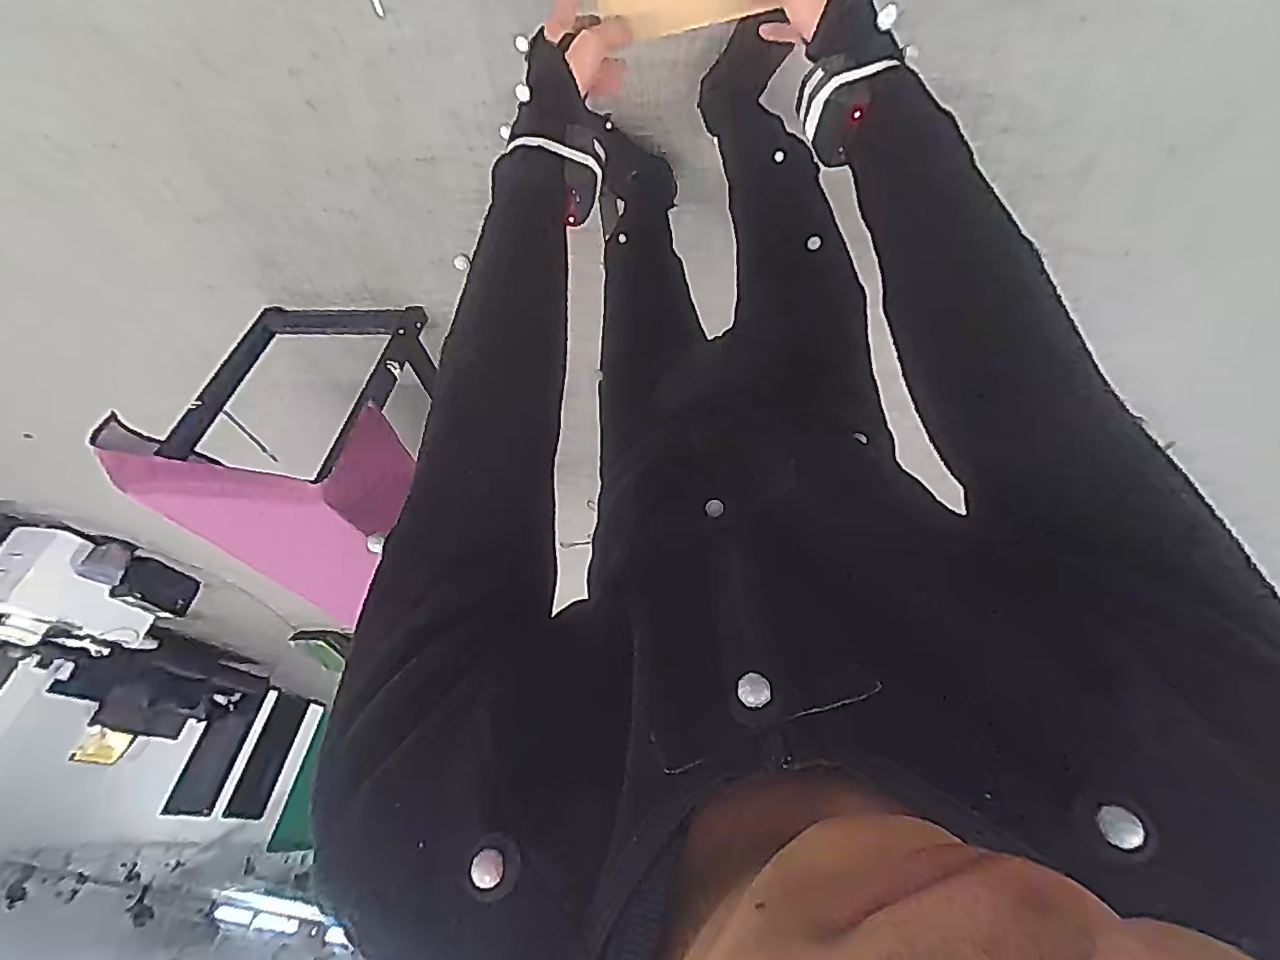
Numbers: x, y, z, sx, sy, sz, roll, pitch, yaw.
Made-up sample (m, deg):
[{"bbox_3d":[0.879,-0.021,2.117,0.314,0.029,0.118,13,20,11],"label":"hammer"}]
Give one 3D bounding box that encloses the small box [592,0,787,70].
[{"bbox_3d":[0.041,-0.526,0.507,0.179,0.176,0.168,-3,141,13],"label":"small box"}]
